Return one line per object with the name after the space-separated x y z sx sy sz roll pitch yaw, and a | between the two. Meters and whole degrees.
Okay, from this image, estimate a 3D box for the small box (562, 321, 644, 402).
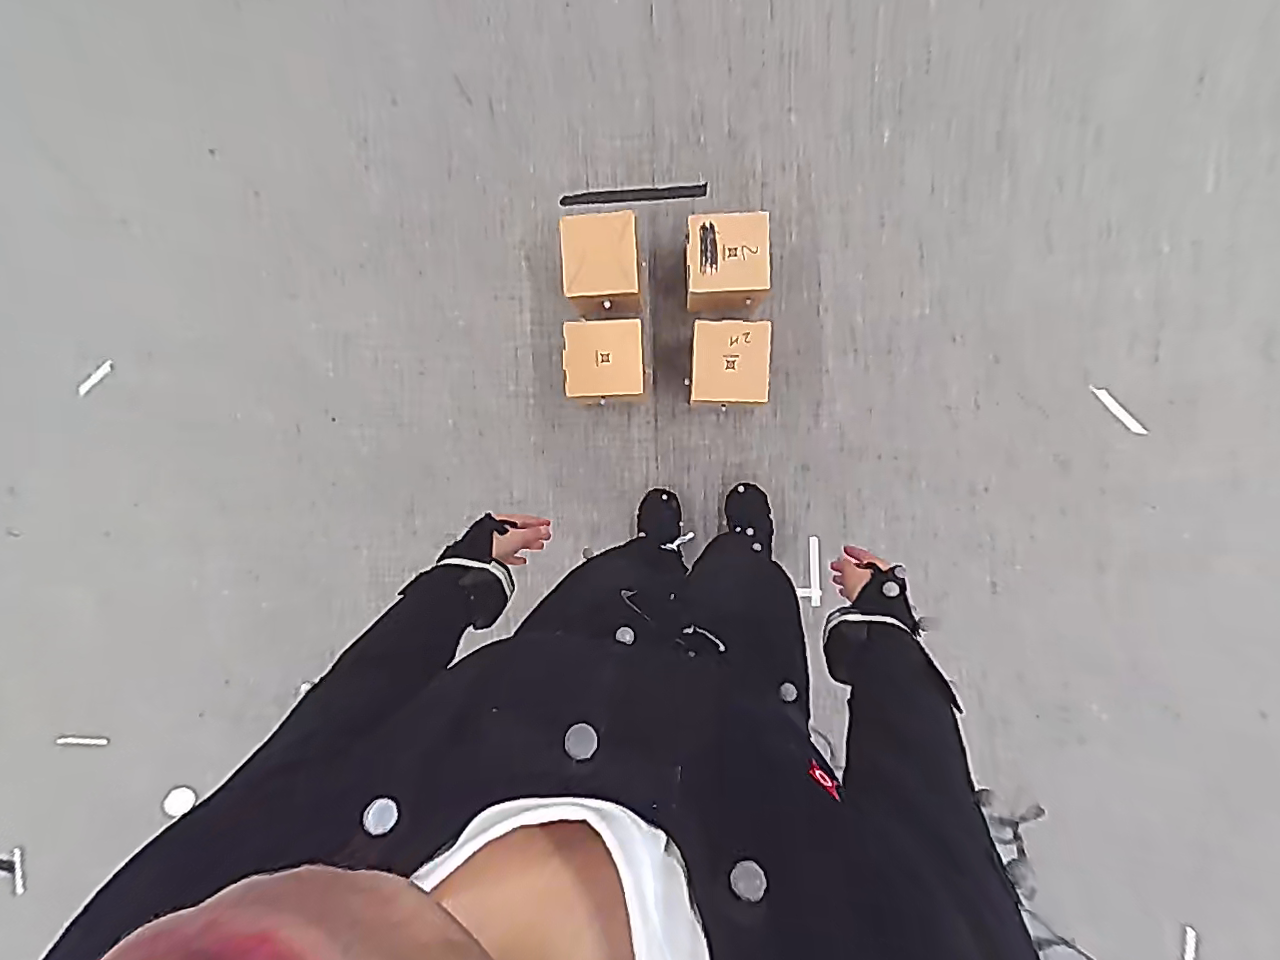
-0.081 -0.274 1.280 0.179 0.176 0.168 -1 93 5 | small box

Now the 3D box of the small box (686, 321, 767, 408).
0.195 -0.261 1.259 0.168 0.176 0.179 2 93 3 | small box
